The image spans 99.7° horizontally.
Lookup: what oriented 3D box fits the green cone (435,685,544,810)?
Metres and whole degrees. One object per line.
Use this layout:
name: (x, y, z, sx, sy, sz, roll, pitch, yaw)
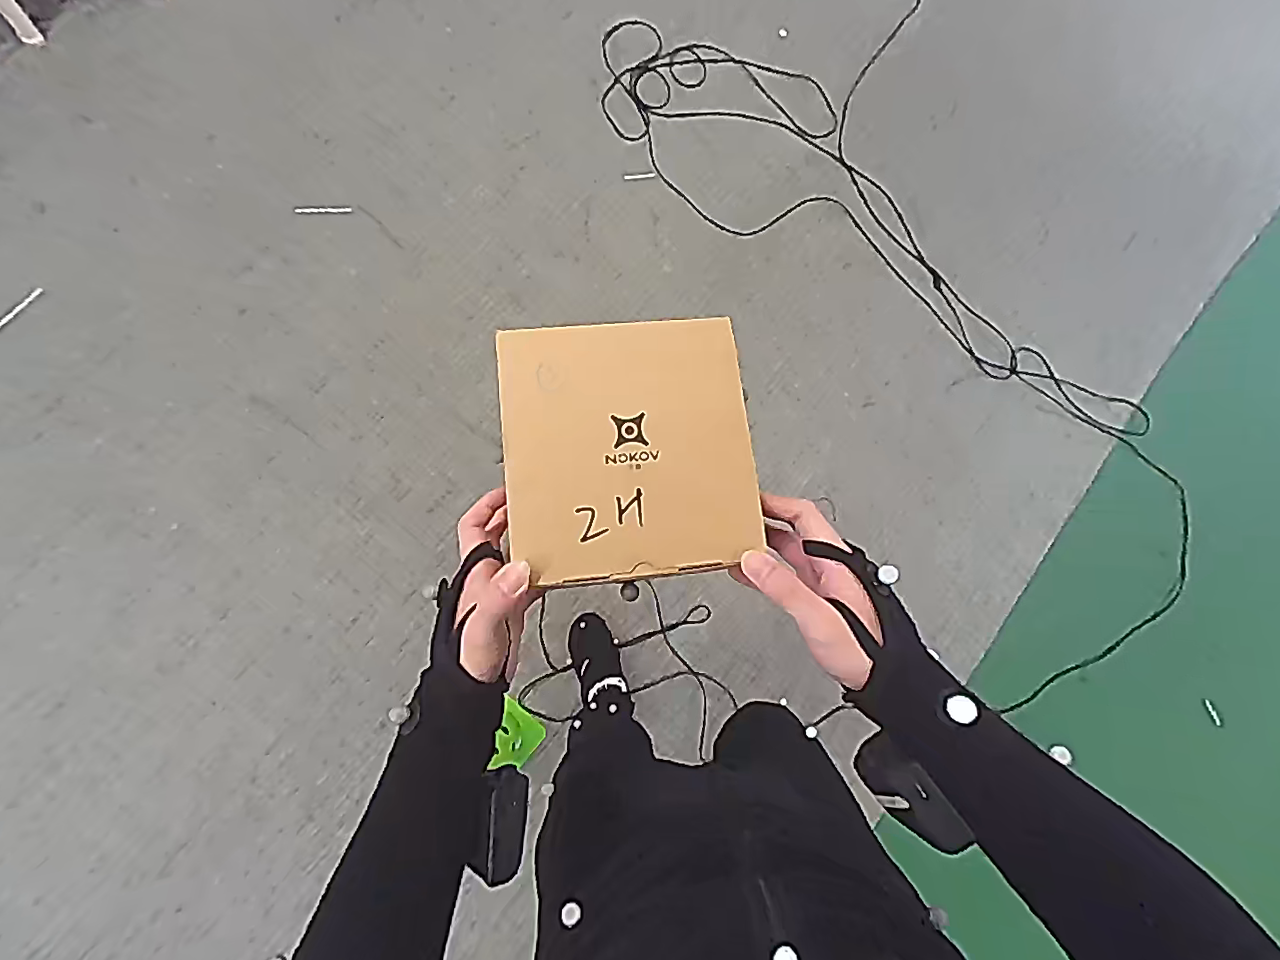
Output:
green cone: (-0.337, 0.606, 1.143, 0.200, 0.368, 0.202, 42, 77, -1)
